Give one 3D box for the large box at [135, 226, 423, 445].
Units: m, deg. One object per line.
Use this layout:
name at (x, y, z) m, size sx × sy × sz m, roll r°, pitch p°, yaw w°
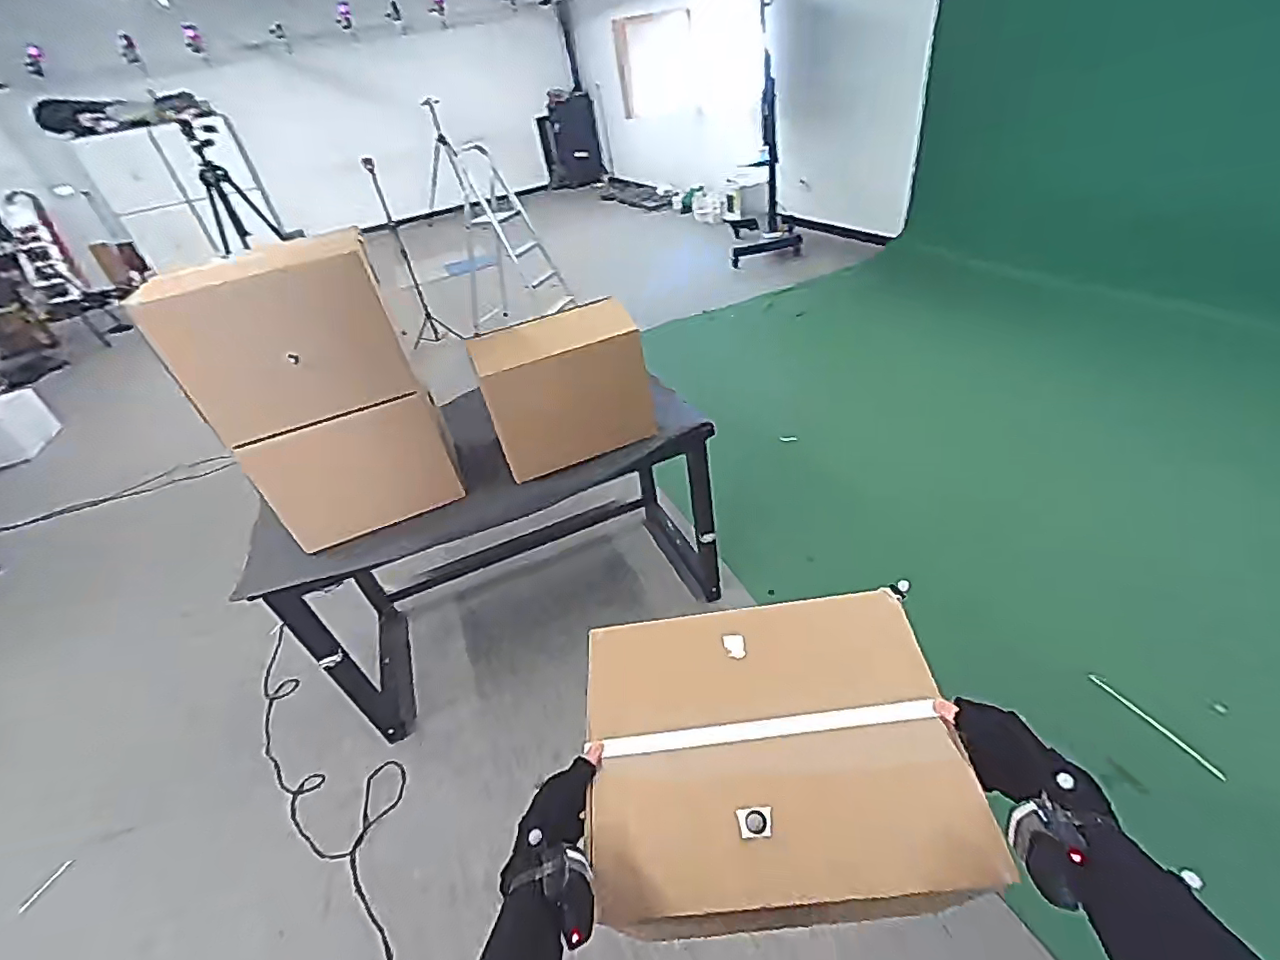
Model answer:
large box at (-0.750, -0.332, 1.202) m, size 0.408 × 0.320 × 0.320 m, roll -21°, pitch 38°, yaw -13°
